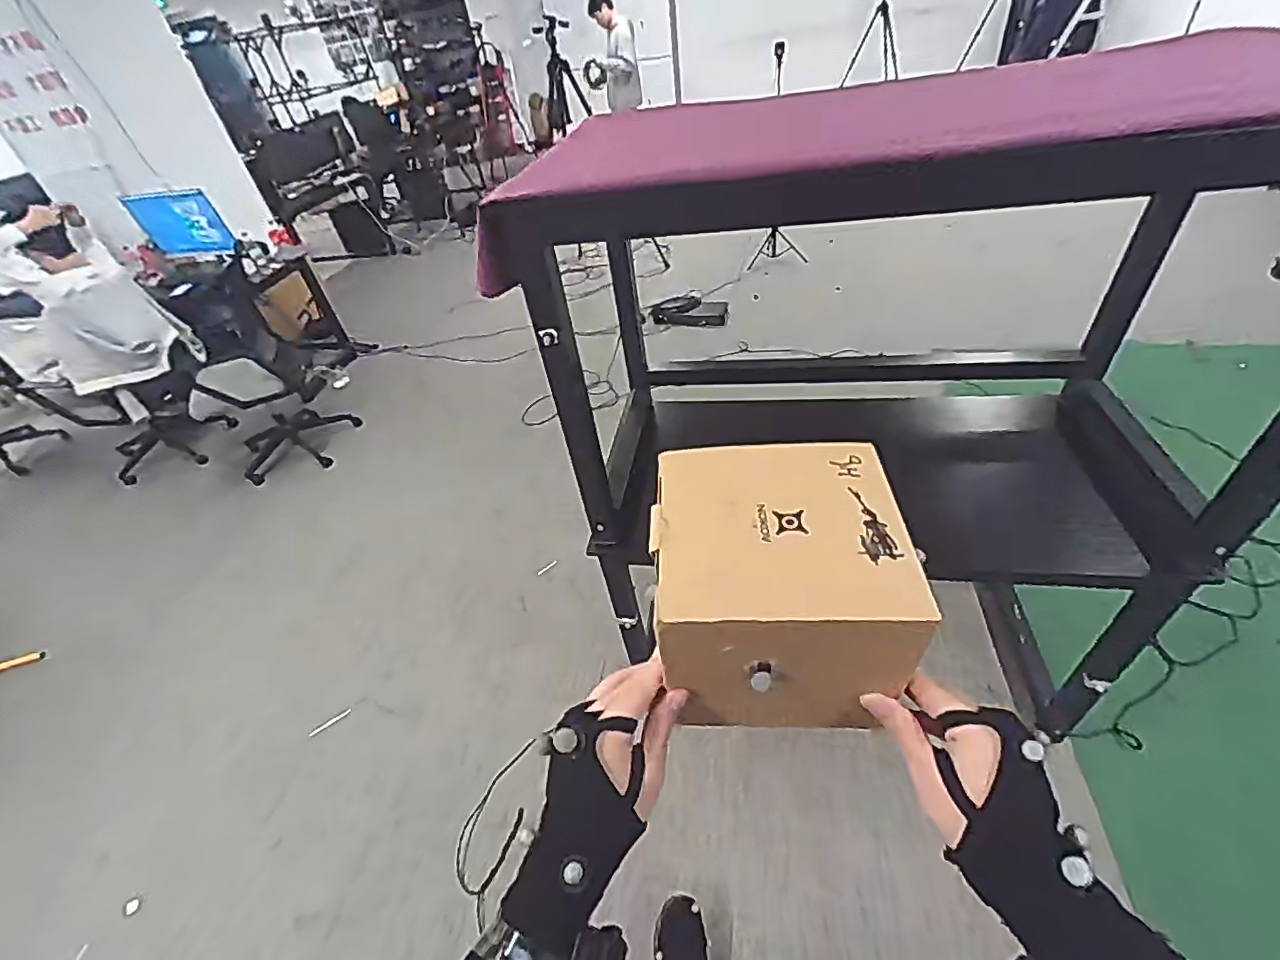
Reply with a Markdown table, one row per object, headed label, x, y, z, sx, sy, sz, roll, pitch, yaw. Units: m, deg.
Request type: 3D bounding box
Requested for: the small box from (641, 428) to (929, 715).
| label | x | y | z | sx | sy | sz | roll | pitch | yaw |
| --- | --- | --- | --- | --- | --- | --- | --- | --- | --- |
| small box | 0.102 | 0.078 | 0.440 | 0.179 | 0.176 | 0.168 | -3 | 45 | 7 |
